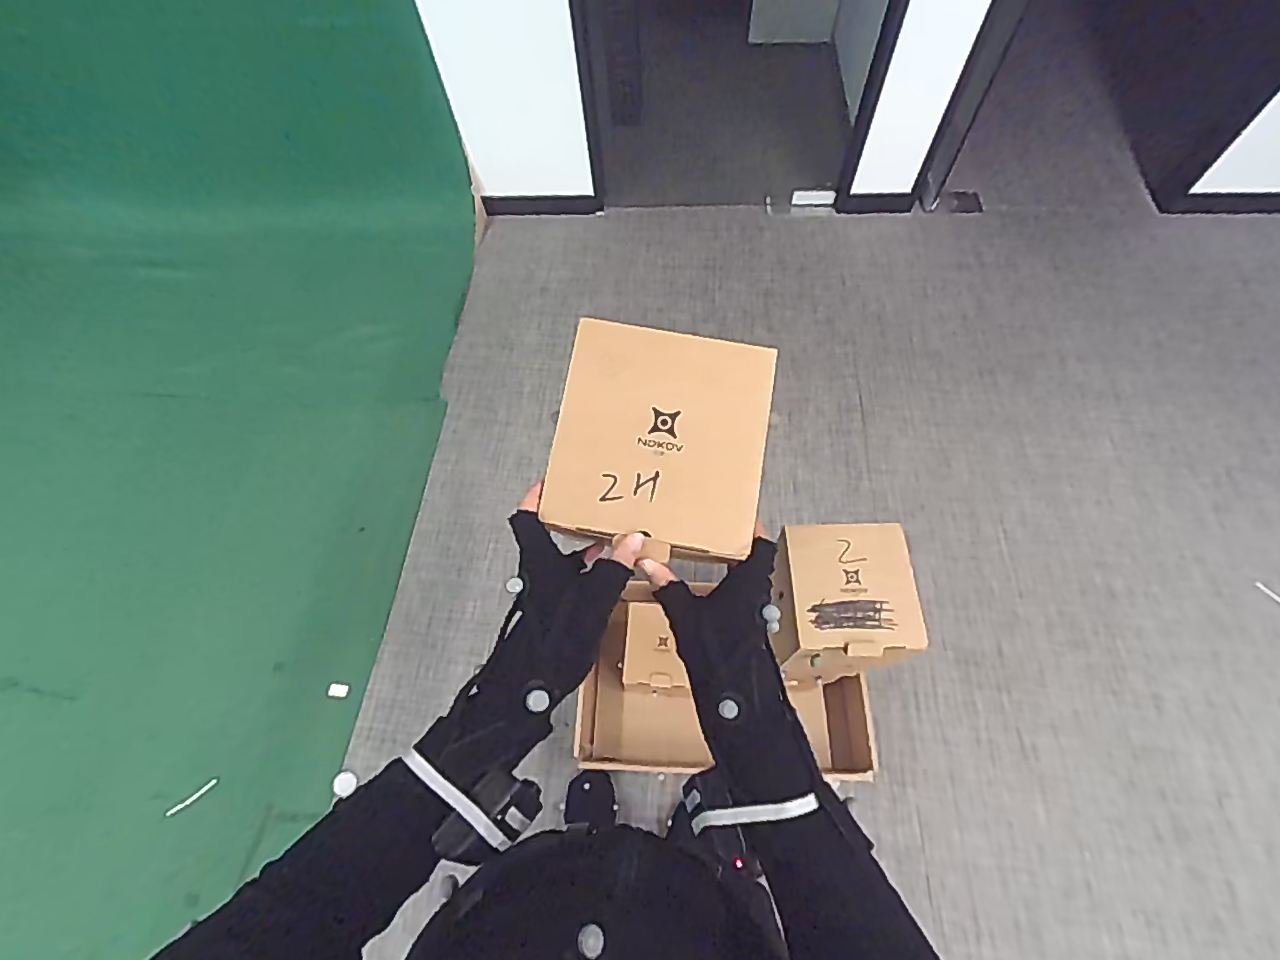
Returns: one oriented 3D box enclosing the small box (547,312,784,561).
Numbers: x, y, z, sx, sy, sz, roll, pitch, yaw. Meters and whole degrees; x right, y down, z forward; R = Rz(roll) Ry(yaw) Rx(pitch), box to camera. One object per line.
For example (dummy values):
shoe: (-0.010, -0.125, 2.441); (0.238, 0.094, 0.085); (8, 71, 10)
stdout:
small box: (0.022, -0.026, 0.504); (0.168, 0.176, 0.179); (10, 80, 2)

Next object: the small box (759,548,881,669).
small box: (0.305, 0.232, 0.954); (0.168, 0.176, 0.179); (2, 63, 4)

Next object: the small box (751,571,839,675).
small box: (0.317, 0.292, 1.088); (0.168, 0.176, 0.179); (0, 63, 5)
